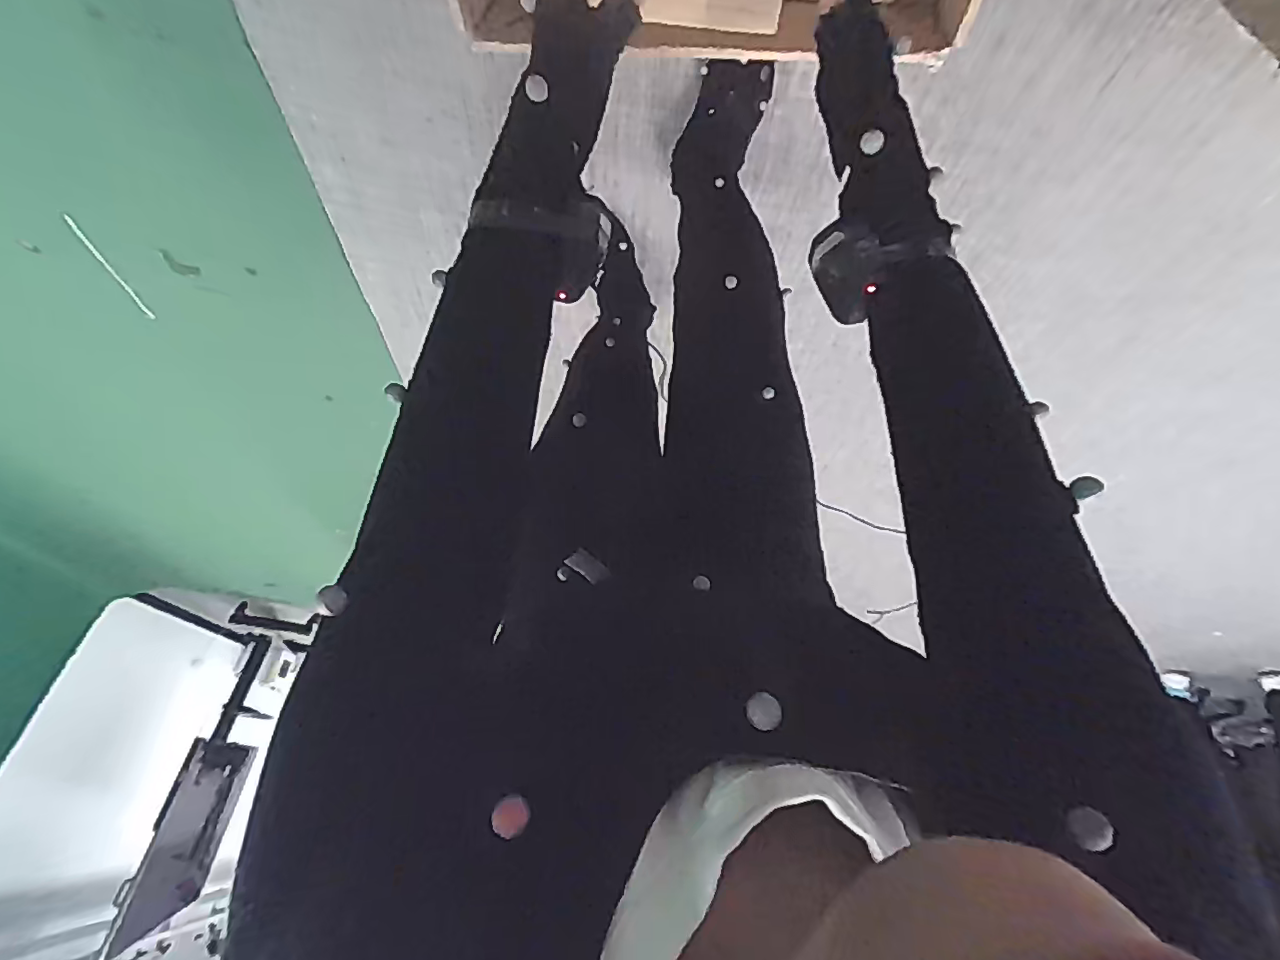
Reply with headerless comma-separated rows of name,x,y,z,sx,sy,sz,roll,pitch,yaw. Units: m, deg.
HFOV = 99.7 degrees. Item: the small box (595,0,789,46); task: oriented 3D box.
small box,0.058,-0.527,0.479,0.179,0.176,0.168,6,150,1
